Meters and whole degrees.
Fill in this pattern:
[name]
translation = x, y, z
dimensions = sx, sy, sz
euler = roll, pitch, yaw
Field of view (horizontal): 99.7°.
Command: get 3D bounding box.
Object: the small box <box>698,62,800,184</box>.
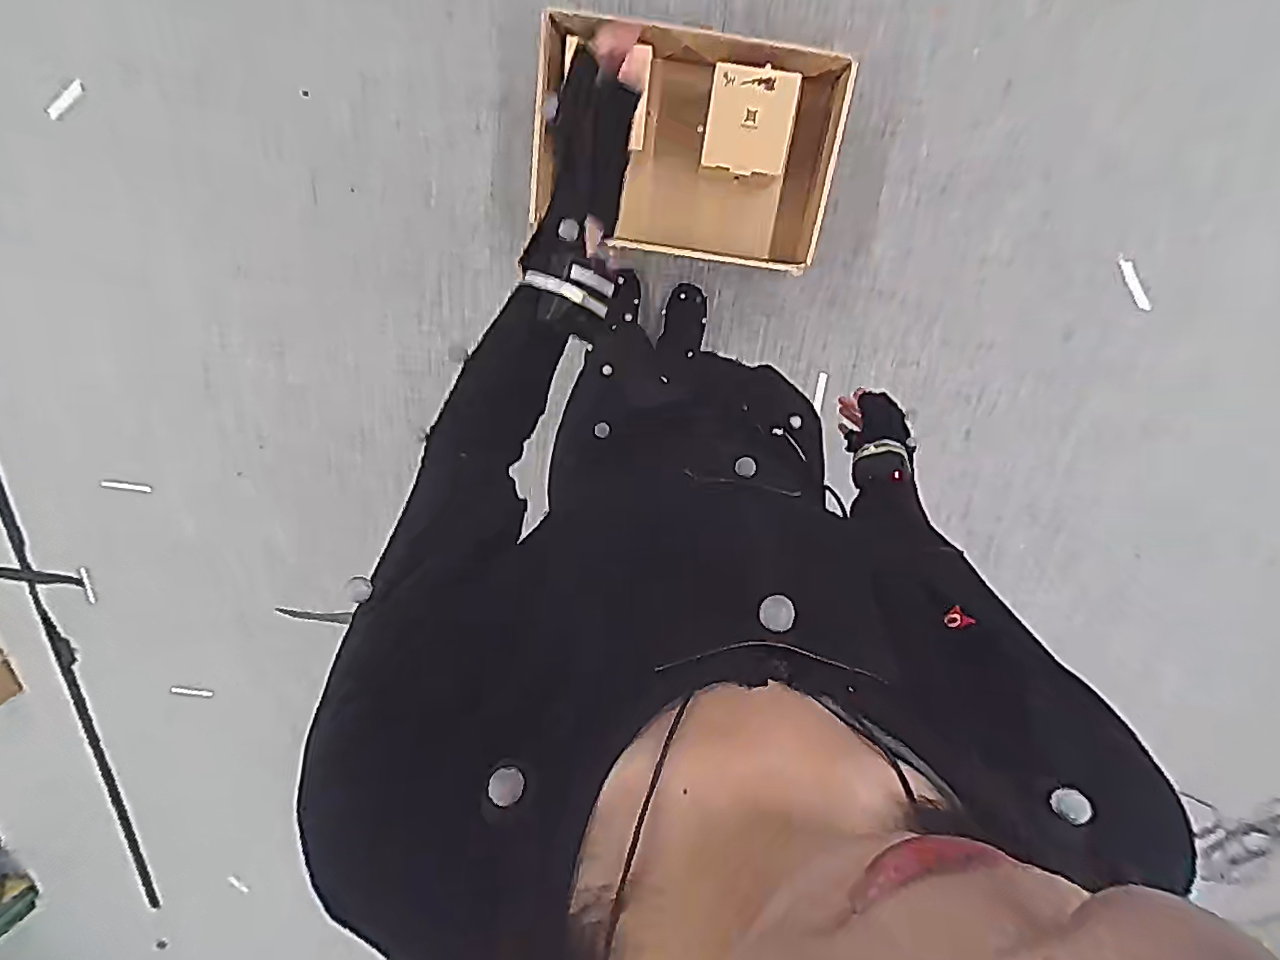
[small box]
translation = 0.217, -0.730, 1.126
dimensions = 0.168, 0.176, 0.179
euler = 9, 113, 0
